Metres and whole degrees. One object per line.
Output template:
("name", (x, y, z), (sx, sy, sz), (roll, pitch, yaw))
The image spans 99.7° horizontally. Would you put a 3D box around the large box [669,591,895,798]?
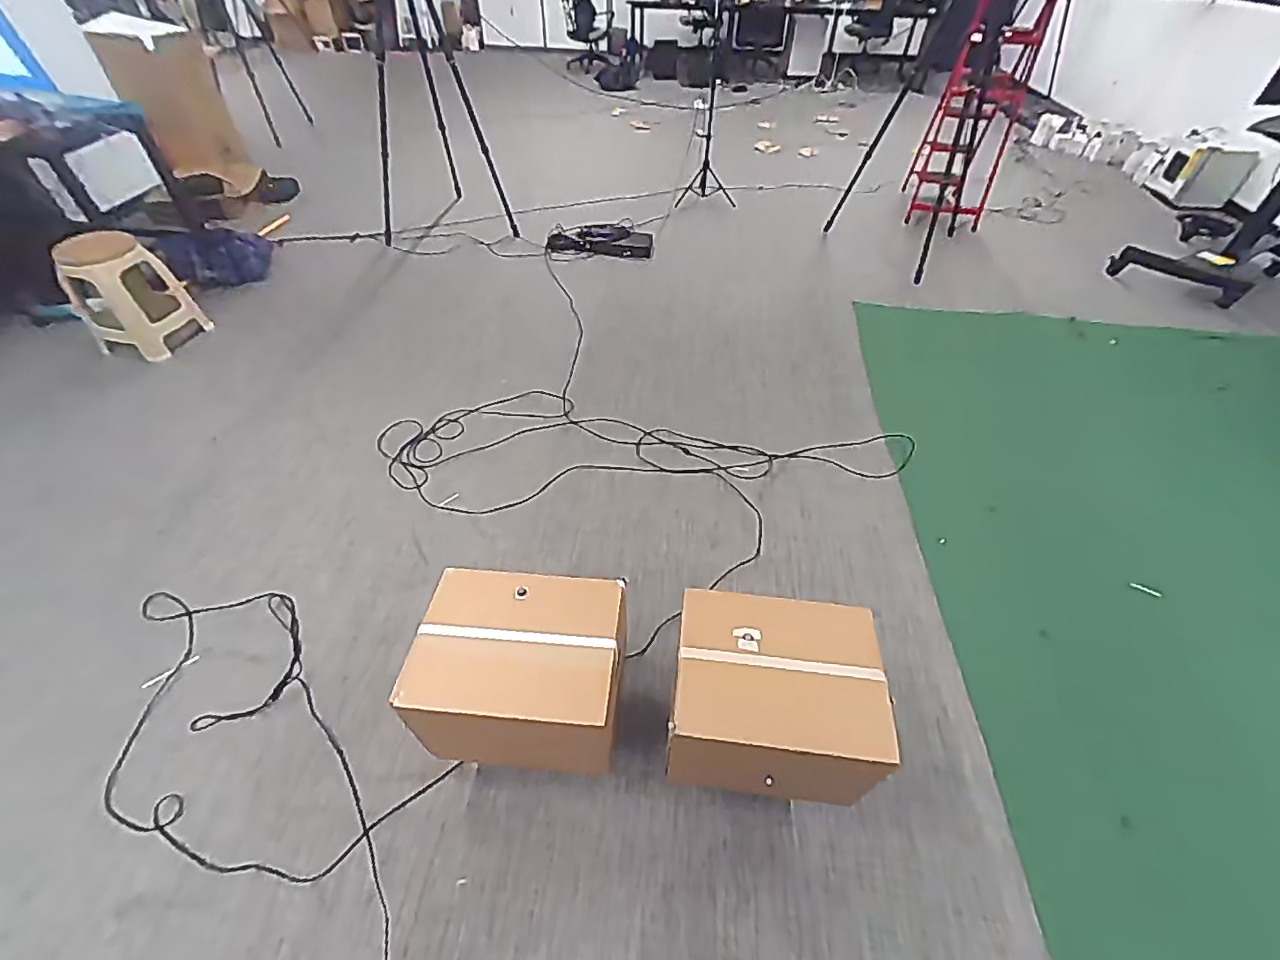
("large box", (0.281, 0.475, 1.191), (0.408, 0.320, 0.320), (6, 47, 5))
